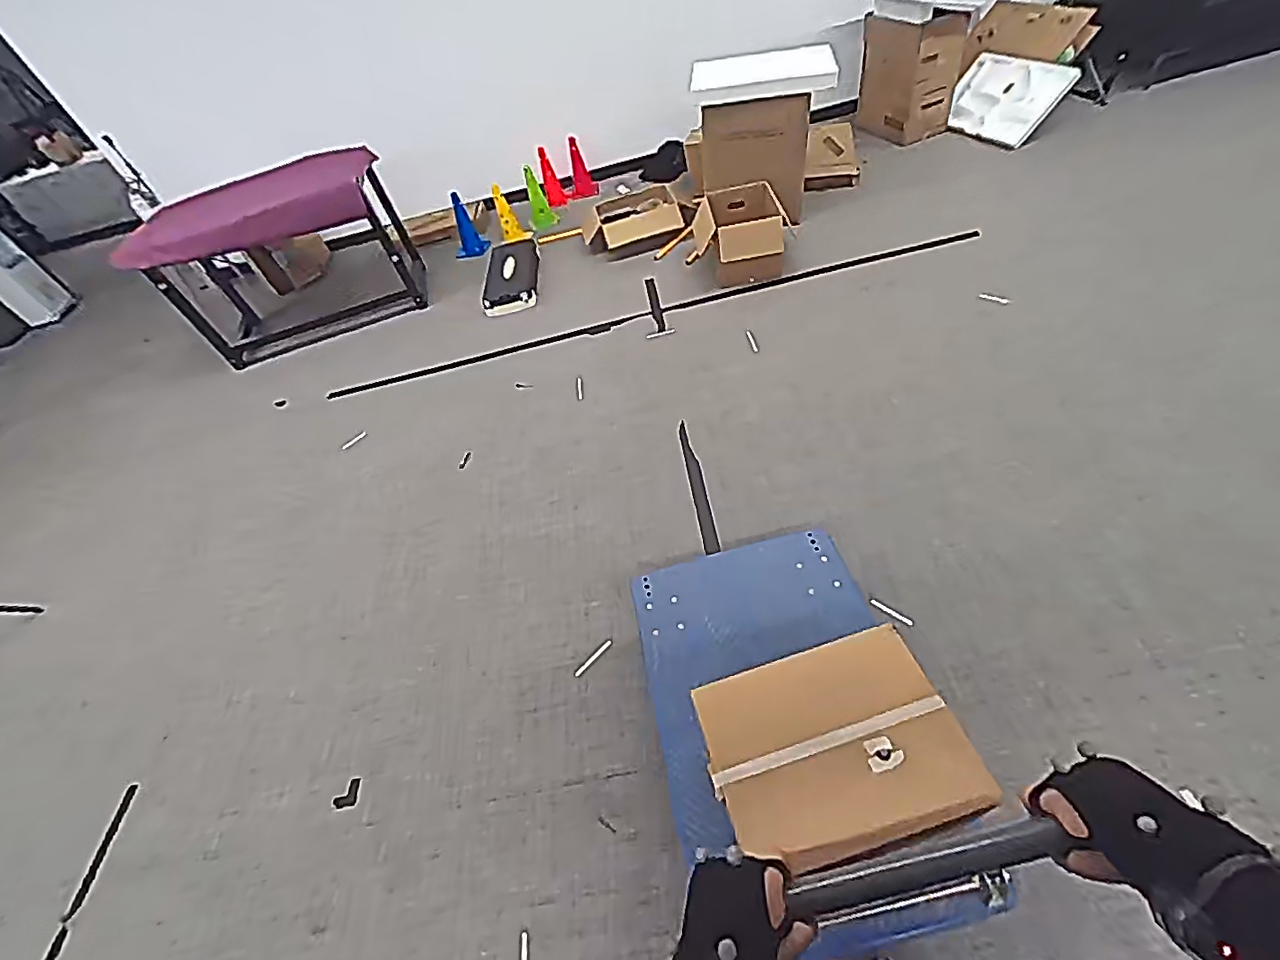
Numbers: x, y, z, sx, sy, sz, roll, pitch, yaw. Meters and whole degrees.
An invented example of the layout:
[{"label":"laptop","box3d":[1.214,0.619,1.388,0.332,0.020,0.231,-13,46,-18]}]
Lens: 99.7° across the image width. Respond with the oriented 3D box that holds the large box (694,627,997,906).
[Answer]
[{"label":"large box","box3d":[0.350,0.545,1.026,0.408,0.320,0.320,-18,48,-3]}]
